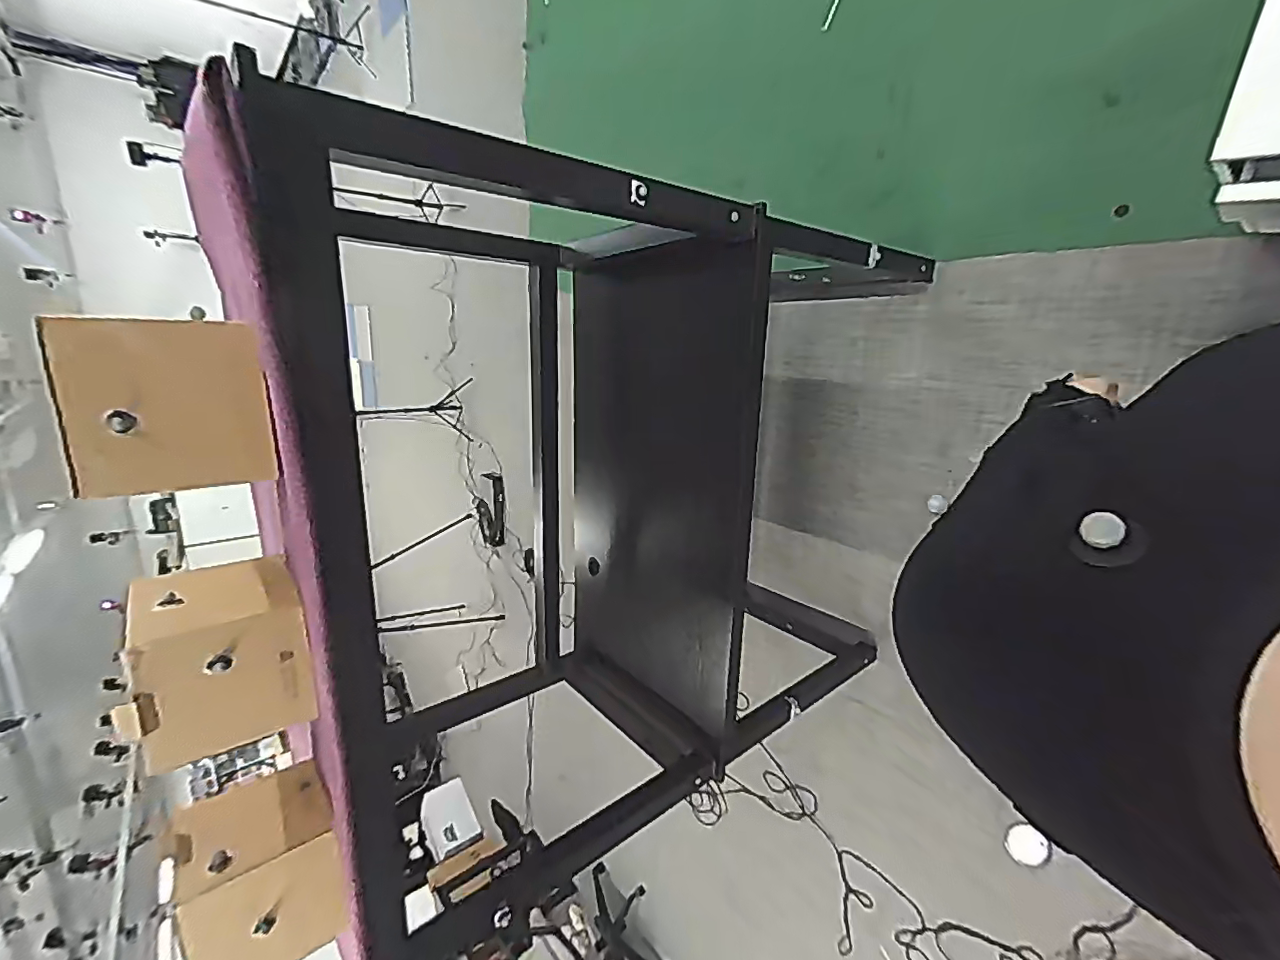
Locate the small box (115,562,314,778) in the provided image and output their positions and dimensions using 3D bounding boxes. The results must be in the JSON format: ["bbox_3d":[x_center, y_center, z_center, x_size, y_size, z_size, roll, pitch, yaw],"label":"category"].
[{"bbox_3d":[-0.519,0.217,0.676,0.179,0.176,0.168,22,113,47],"label":"small box"}]

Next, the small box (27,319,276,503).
[{"bbox_3d":[-0.523,-0.088,0.607,0.168,0.176,0.179,18,112,50],"label":"small box"}]
